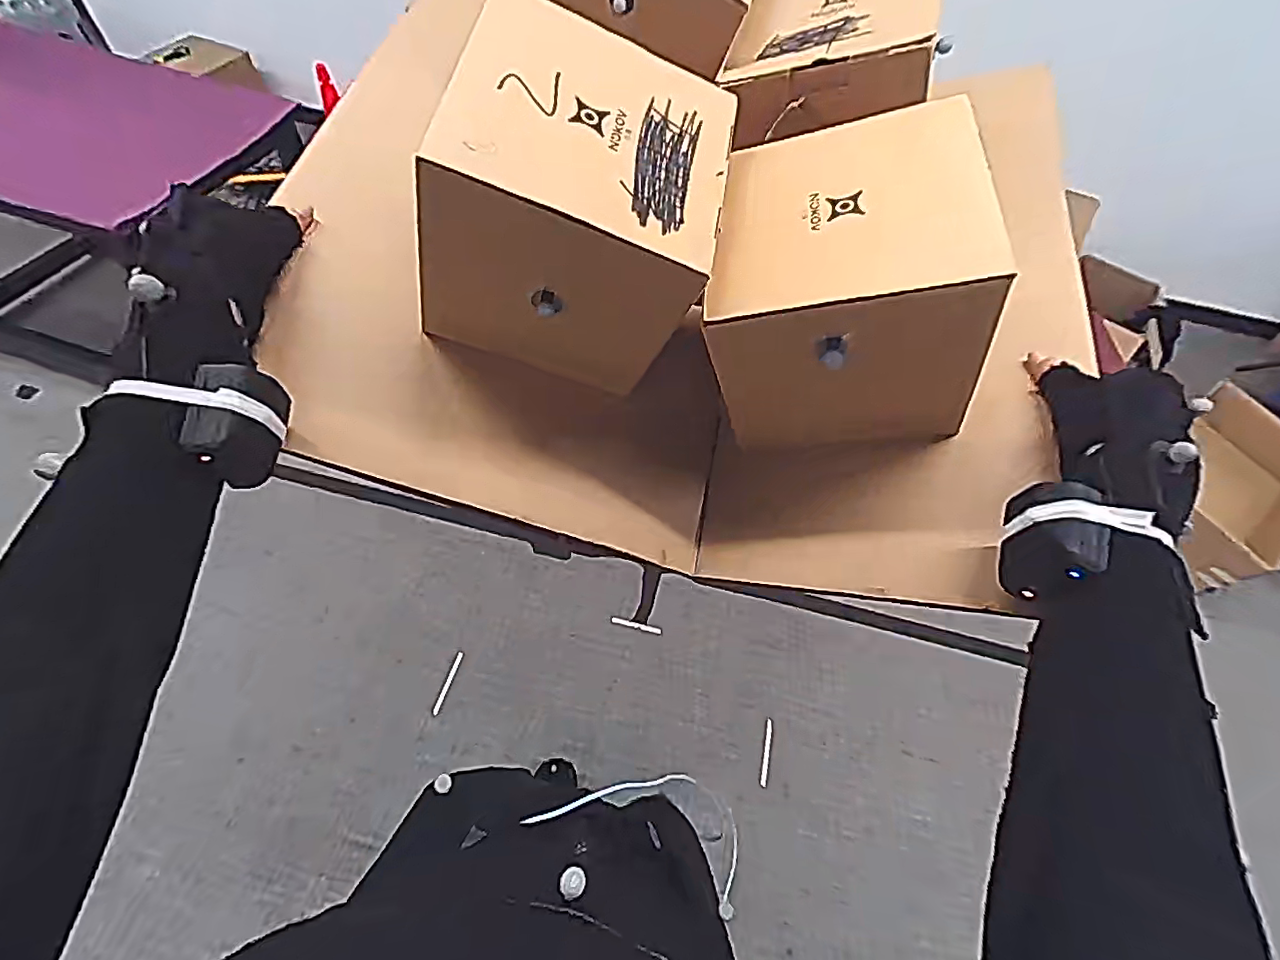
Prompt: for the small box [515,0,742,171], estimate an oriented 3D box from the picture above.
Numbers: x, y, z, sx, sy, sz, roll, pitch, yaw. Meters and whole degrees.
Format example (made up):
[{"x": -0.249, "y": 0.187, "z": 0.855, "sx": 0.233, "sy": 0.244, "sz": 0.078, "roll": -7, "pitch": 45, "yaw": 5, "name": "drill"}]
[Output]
[{"x": -0.007, "y": -0.447, "z": 0.522, "sx": 0.179, "sy": 0.176, "sz": 0.168, "roll": 23, "pitch": 65, "yaw": -13, "name": "small box"}]
